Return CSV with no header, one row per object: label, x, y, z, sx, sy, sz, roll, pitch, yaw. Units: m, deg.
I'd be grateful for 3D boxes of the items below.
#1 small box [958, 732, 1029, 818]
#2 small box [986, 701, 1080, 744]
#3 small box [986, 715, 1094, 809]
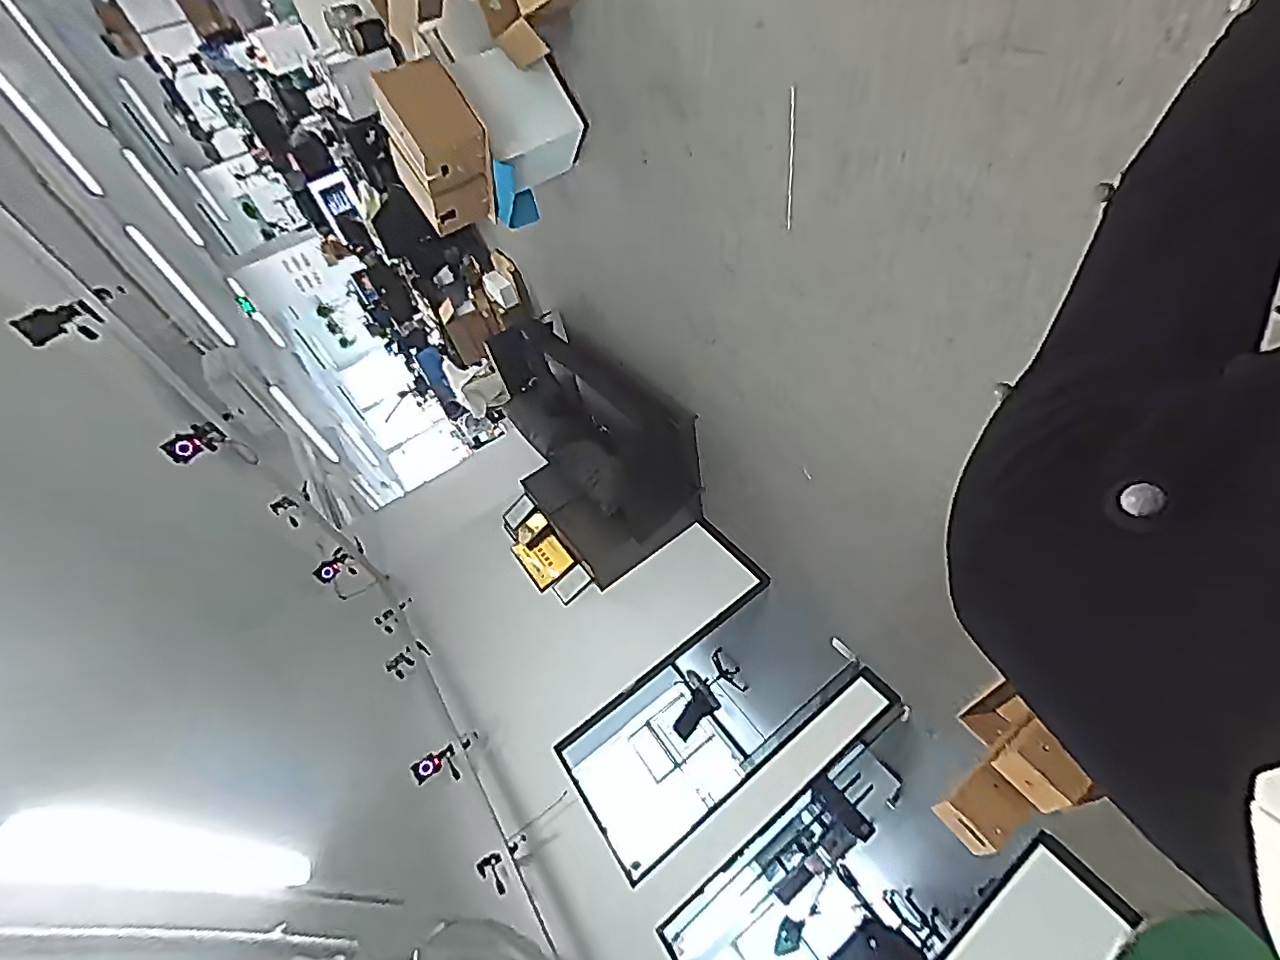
small box,1.192,0.961,1.766,0.168,0.176,0.179,46,158,34
small box,1.322,0.879,1.817,0.168,0.176,0.179,45,158,33
small box,1.160,0.815,1.568,0.168,0.176,0.179,46,161,33
